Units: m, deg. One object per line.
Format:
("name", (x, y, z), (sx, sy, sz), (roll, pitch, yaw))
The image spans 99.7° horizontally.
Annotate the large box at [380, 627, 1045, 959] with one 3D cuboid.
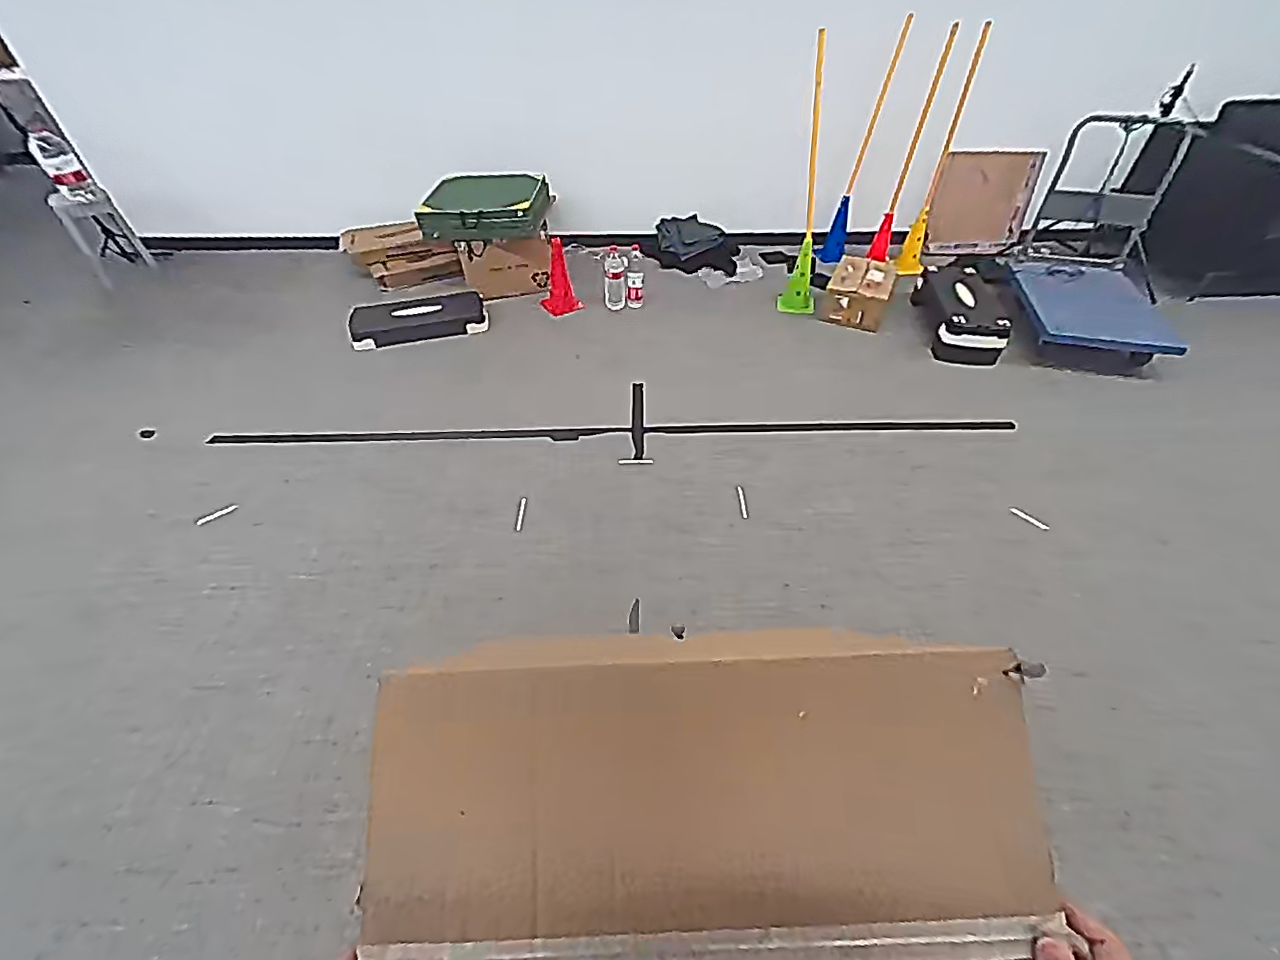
("large box", (0.039, 0.302, 0.470), (0.408, 0.320, 0.320), (-3, 78, -1))
